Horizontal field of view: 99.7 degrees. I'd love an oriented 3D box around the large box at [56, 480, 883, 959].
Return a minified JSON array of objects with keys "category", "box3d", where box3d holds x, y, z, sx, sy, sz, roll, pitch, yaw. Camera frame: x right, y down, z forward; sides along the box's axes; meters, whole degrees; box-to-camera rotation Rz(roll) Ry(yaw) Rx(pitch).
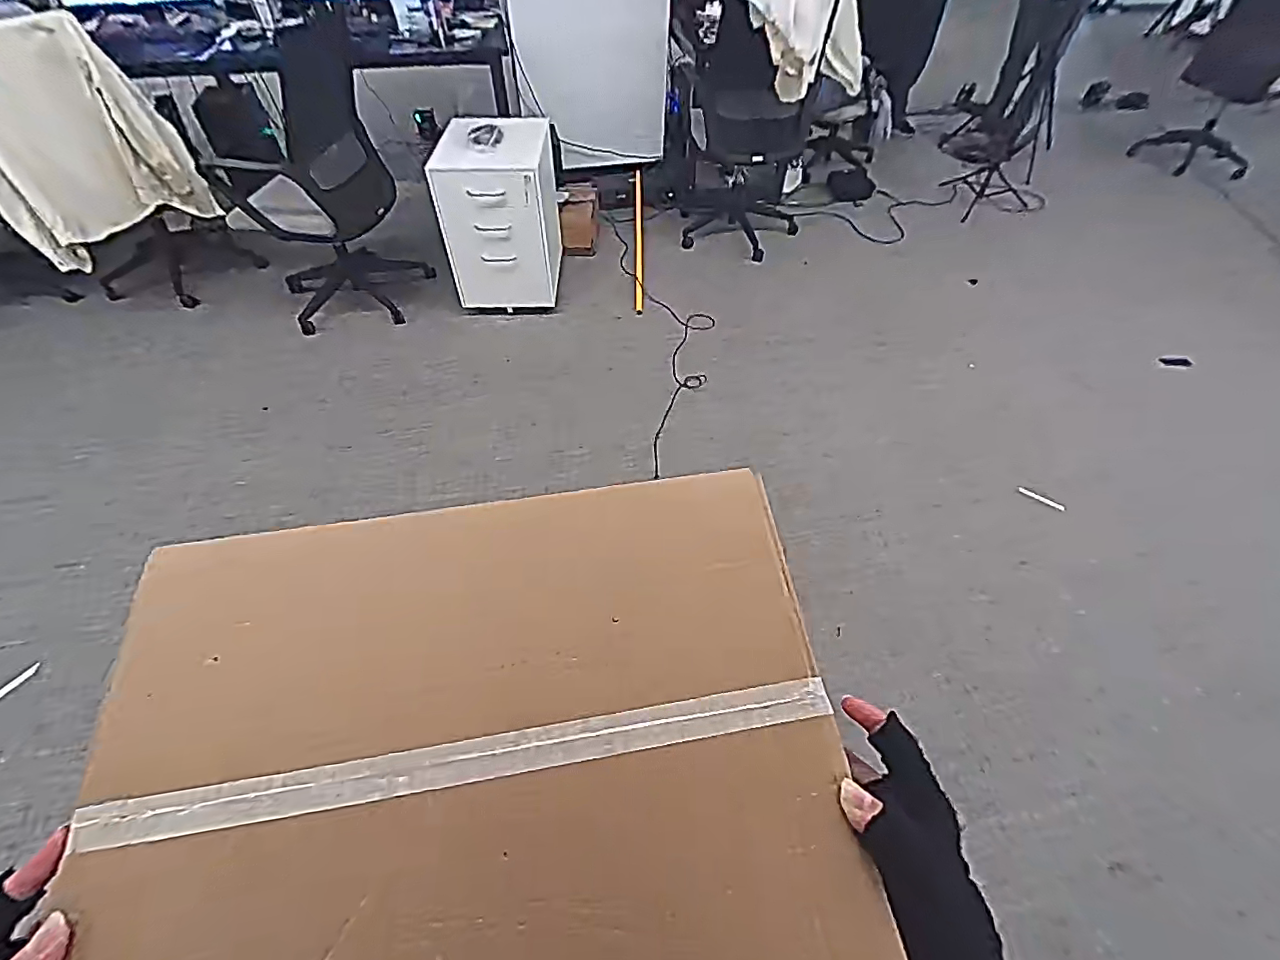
[{"category":"large box","box3d":[-0.096,0.230,0.439,0.408,0.320,0.320,-8,61,-5]}]
